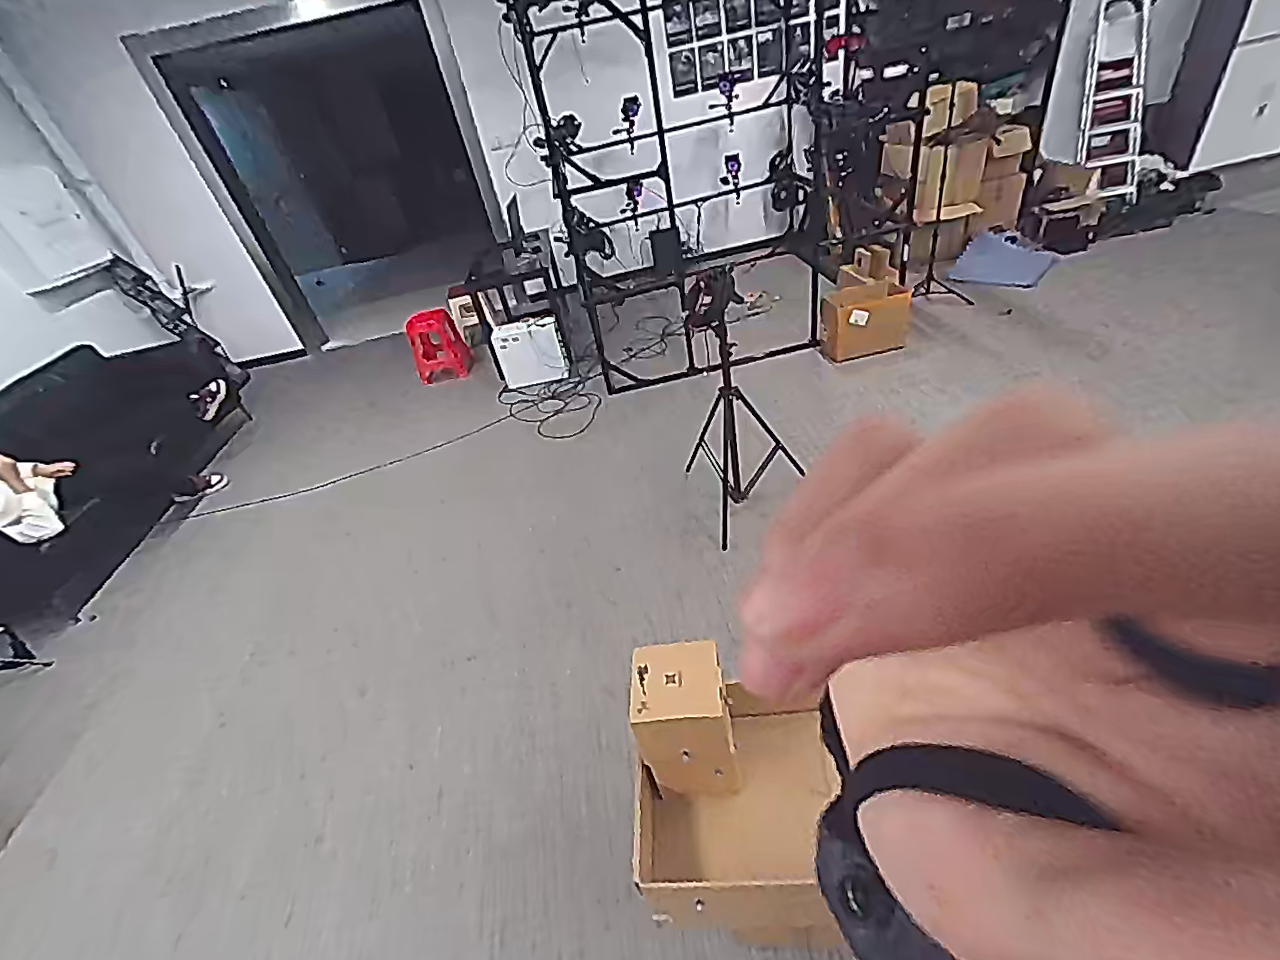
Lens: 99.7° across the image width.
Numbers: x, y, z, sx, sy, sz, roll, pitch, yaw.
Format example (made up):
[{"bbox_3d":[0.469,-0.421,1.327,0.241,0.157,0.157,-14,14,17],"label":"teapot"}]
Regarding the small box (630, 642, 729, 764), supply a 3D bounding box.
[{"bbox_3d":[0.083,0.447,1.082,0.179,0.176,0.168,-7,36,8],"label":"small box"}]
